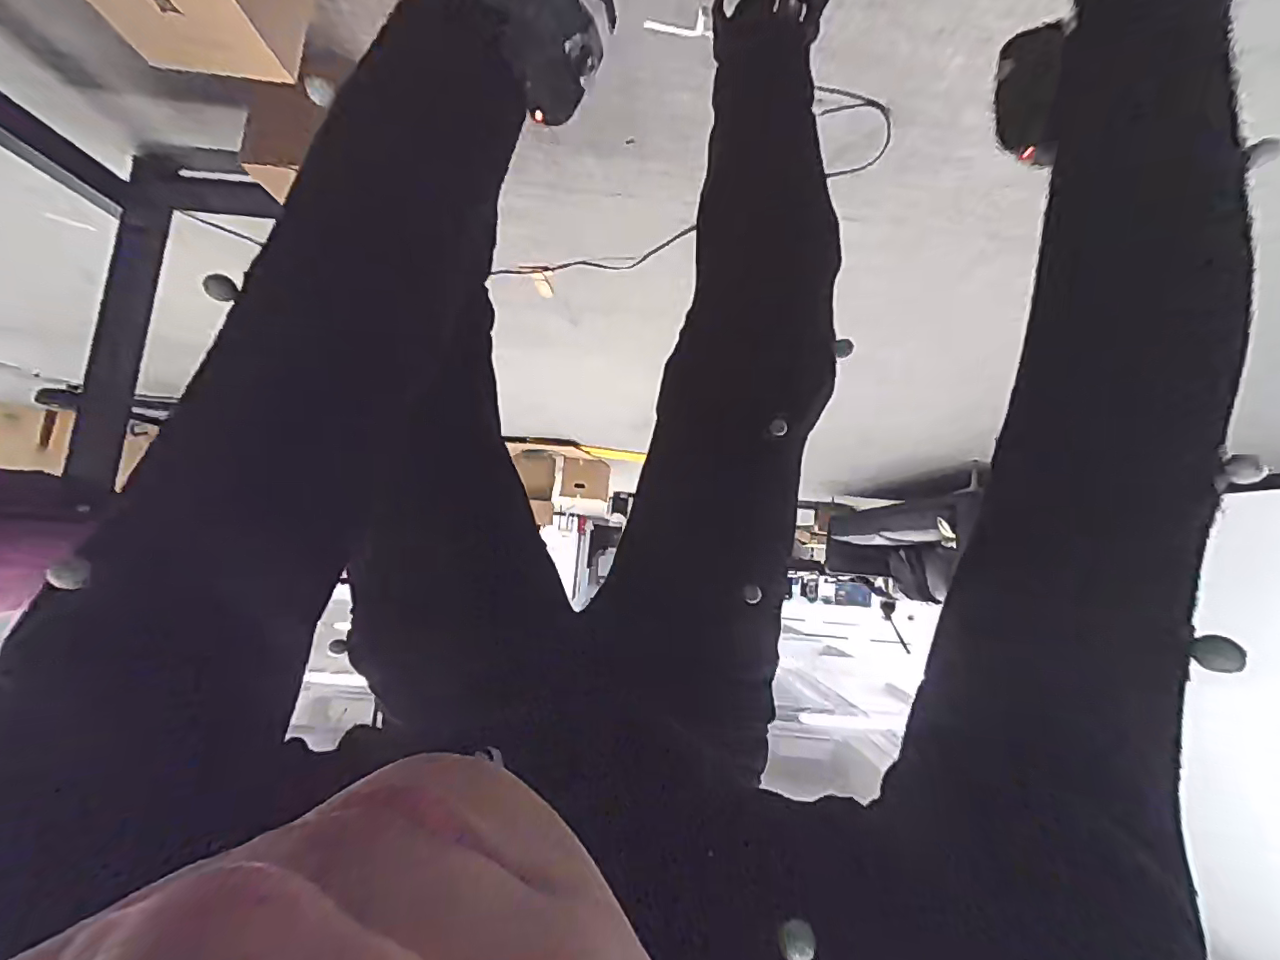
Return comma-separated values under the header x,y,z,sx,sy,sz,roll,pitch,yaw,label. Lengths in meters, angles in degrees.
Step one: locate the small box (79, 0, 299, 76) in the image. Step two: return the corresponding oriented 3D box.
x,y,z,sx,sy,sz,roll,pitch,yaw,label
-0.466,-0.552,0.529,0.168,0.176,0.179,6,174,-2,small box
